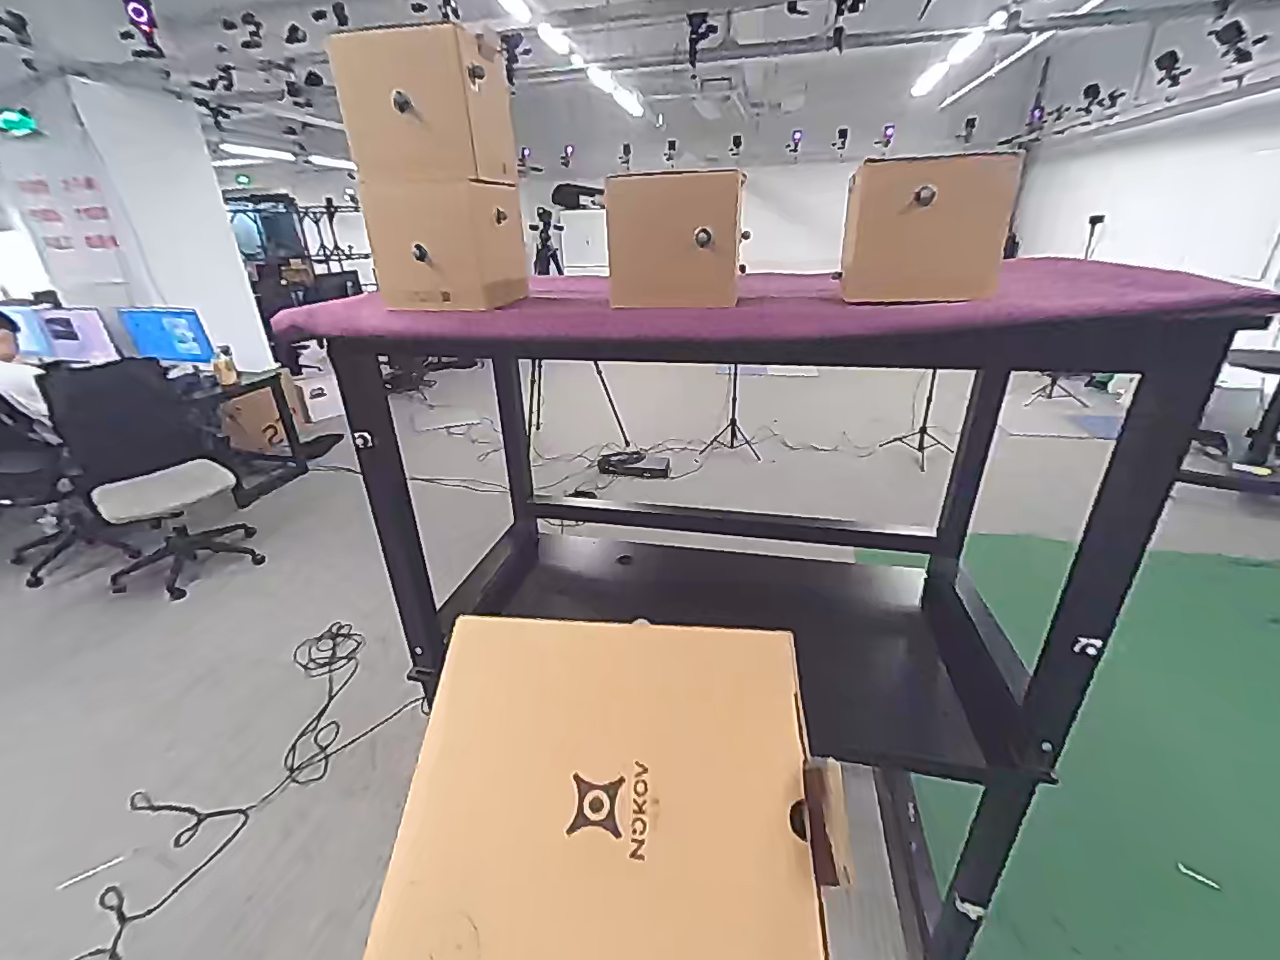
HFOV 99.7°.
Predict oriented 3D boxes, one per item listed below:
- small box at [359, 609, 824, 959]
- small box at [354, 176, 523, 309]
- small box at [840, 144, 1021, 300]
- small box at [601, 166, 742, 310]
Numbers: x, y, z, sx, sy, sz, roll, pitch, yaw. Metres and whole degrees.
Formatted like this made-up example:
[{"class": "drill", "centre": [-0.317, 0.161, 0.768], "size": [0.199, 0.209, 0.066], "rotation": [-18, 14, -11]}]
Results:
[{"class": "small box", "centre": [-0.013, 0.185, 0.297], "size": [0.179, 0.176, 0.168], "rotation": [2, 53, 2]}, {"class": "small box", "centre": [-0.287, -0.356, 0.818], "size": [0.168, 0.176, 0.179], "rotation": [4, 26, 9]}, {"class": "small box", "centre": [0.373, -0.338, 0.734], "size": [0.179, 0.176, 0.168], "rotation": [4, 24, 13]}, {"class": "small box", "centre": [0.053, -0.345, 0.778], "size": [0.179, 0.176, 0.168], "rotation": [2, 25, 11]}]
